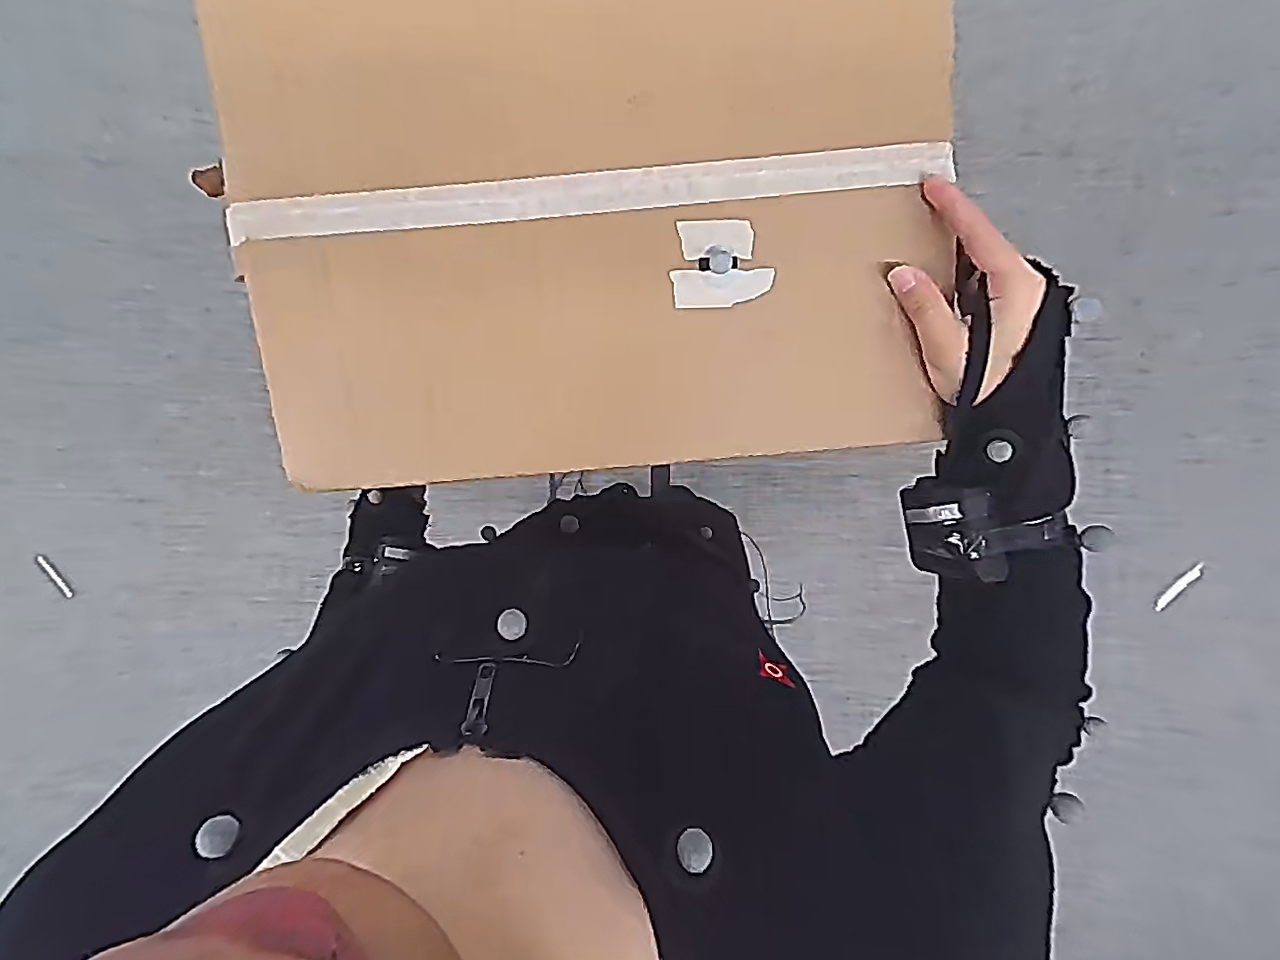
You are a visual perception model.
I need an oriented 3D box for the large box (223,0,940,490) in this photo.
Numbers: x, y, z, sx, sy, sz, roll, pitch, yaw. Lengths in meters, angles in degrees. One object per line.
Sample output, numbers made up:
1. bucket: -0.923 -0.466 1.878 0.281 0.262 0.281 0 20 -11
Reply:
1. large box: -0.027 -0.186 0.465 0.408 0.320 0.320 -5 100 -1
